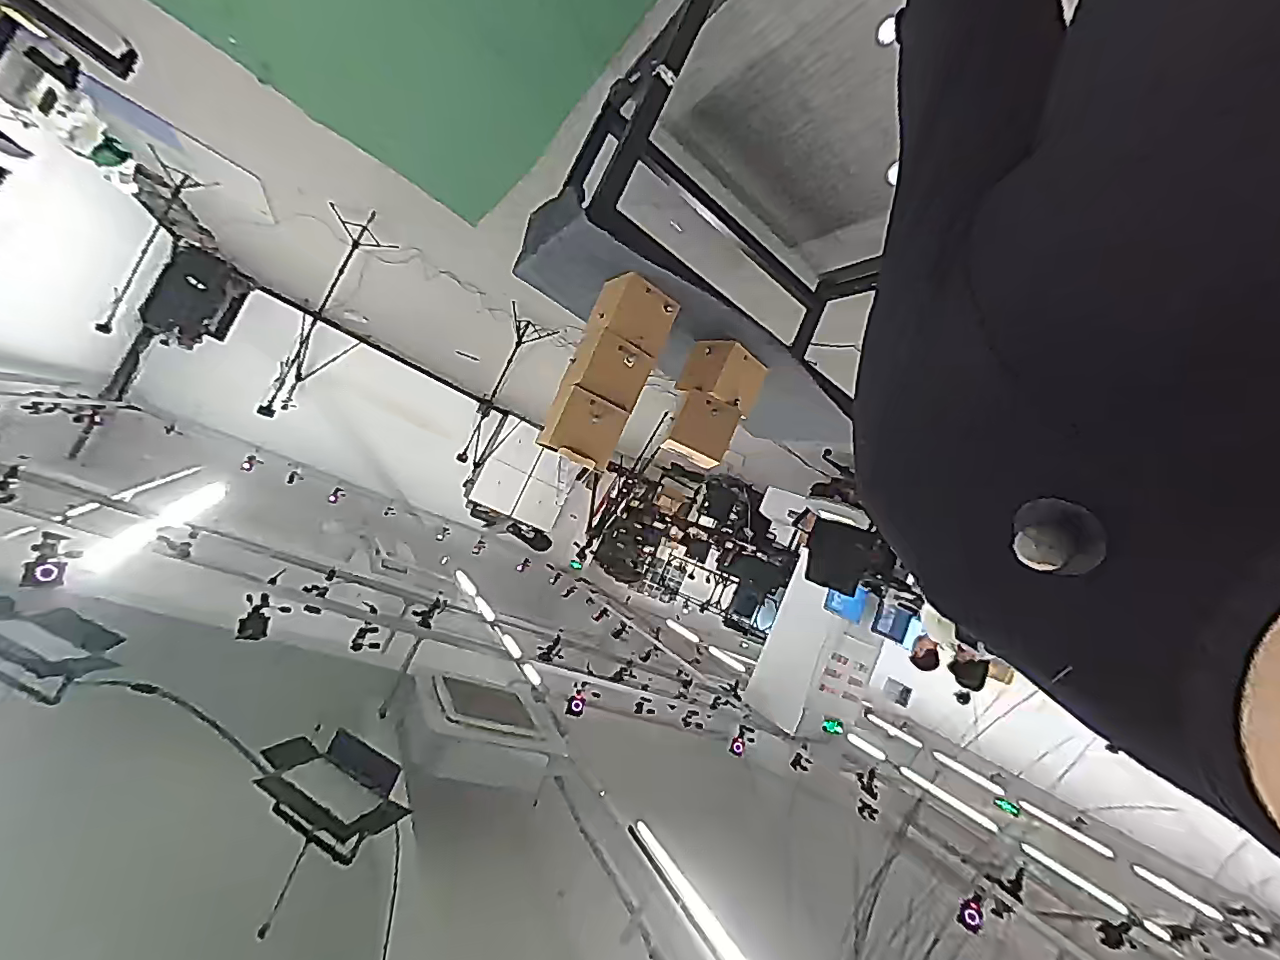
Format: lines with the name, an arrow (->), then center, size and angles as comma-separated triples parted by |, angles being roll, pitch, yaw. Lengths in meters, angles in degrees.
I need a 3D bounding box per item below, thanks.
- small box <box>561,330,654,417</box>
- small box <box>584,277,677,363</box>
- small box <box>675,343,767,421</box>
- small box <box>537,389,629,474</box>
small box -> -0.086, -0.281, 1.451 | 0.168, 0.176, 0.179 | 25, 175, -26
small box -> -0.022, -0.429, 1.468 | 0.168, 0.176, 0.179 | 27, 176, -29
small box -> 0.244, -0.296, 1.610 | 0.168, 0.176, 0.179 | 29, 174, -38
small box -> -0.151, -0.130, 1.429 | 0.168, 0.176, 0.179 | 24, 176, -23
